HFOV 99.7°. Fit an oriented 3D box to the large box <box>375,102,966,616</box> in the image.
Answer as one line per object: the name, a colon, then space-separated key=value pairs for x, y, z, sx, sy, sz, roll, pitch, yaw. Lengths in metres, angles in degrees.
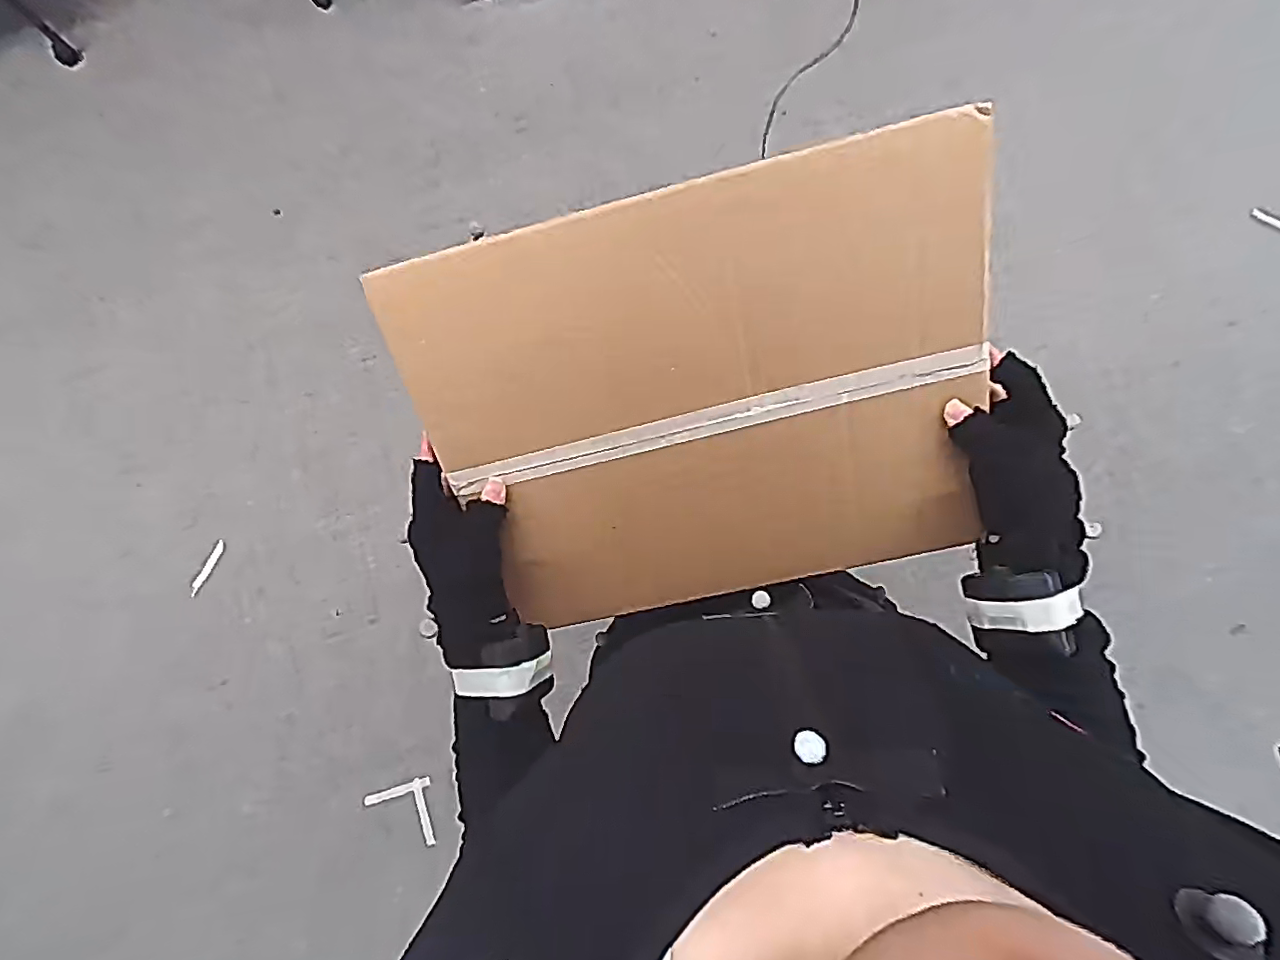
large box: x=0.040 y=-0.116 z=0.547 sx=0.408 sy=0.320 sz=0.320 roll=-13 pitch=116 yaw=5
